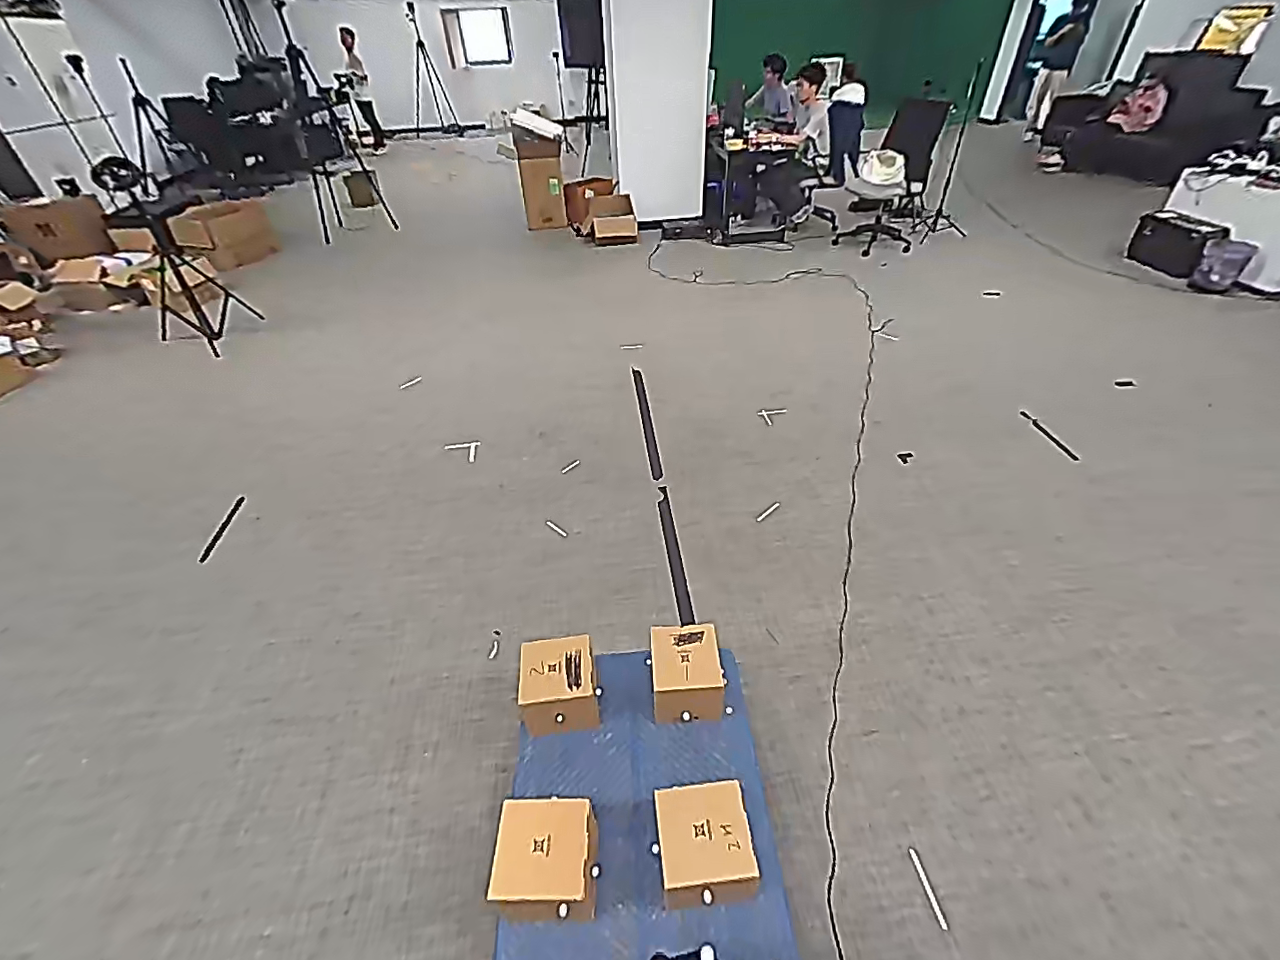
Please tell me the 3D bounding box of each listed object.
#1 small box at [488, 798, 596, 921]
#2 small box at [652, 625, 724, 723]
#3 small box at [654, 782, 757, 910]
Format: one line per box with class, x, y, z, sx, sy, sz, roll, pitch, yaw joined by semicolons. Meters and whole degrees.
small box;-0.184;0.754;1.074;0.179;0.176;0.168;-1;39;0
small box;0.115;0.490;1.368;0.168;0.176;0.179;-3;41;0
small box;0.124;0.731;1.080;0.179;0.176;0.168;-5;40;-2
